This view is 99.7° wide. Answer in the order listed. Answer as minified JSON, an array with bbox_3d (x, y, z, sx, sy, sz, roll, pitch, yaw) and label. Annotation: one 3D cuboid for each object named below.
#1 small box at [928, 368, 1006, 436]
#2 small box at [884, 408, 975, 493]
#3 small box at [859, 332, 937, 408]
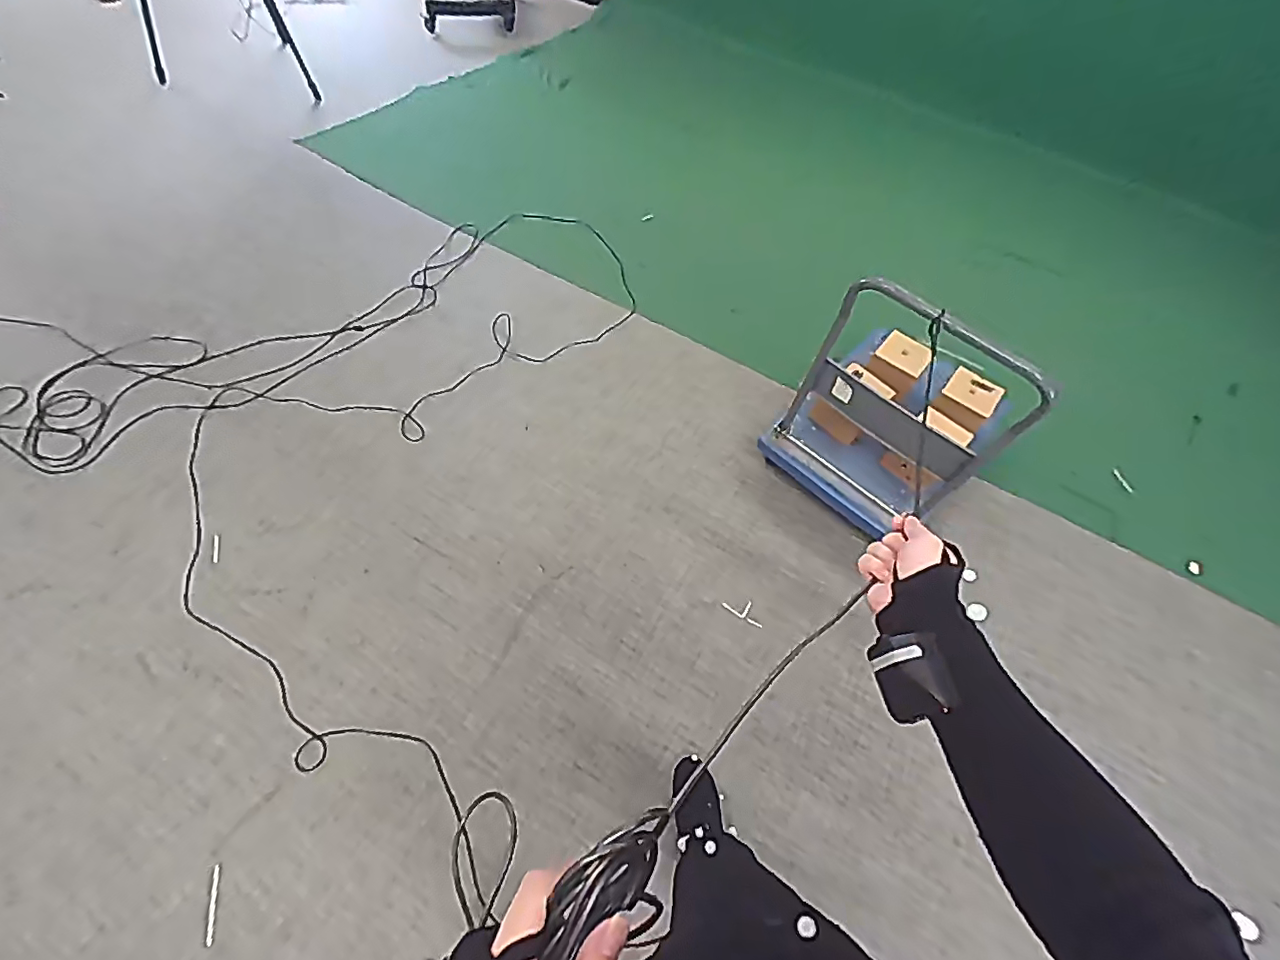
[{"bbox_3d":[1.111,-0.247,1.869,0.168,0.176,0.179,36,61,18],"label":"small box"},{"bbox_3d":[0.926,-0.092,1.746,0.168,0.176,0.179,41,62,19],"label":"small box"},{"bbox_3d":[0.918,-0.391,1.941,0.168,0.176,0.179,38,60,16],"label":"small box"}]
